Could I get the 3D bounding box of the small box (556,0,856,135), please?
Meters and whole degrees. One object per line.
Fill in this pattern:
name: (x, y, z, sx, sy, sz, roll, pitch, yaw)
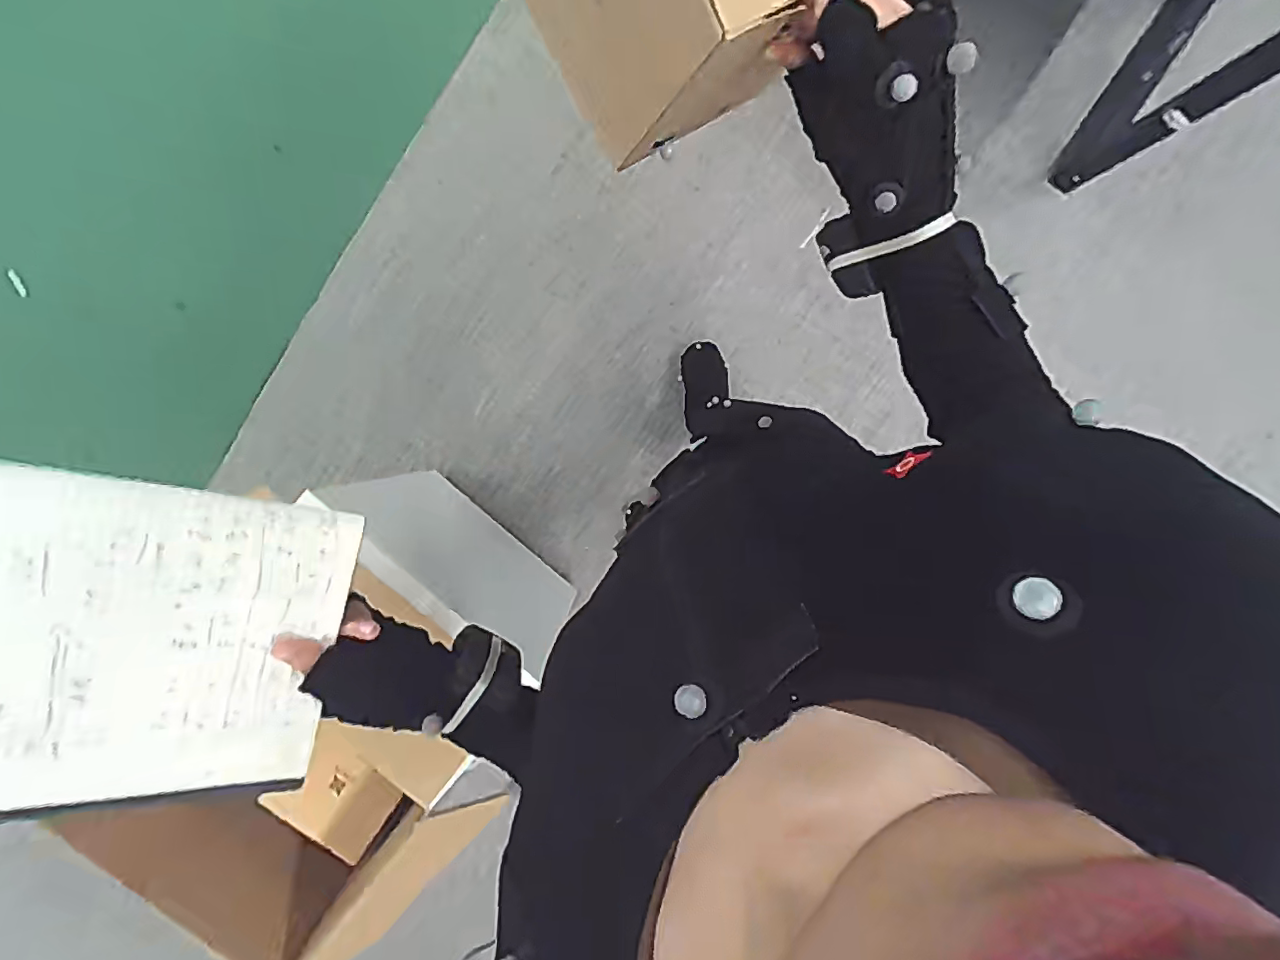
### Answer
small box: (0.046, -0.360, 0.346, 0.168, 0.176, 0.179, -36, 107, -16)
